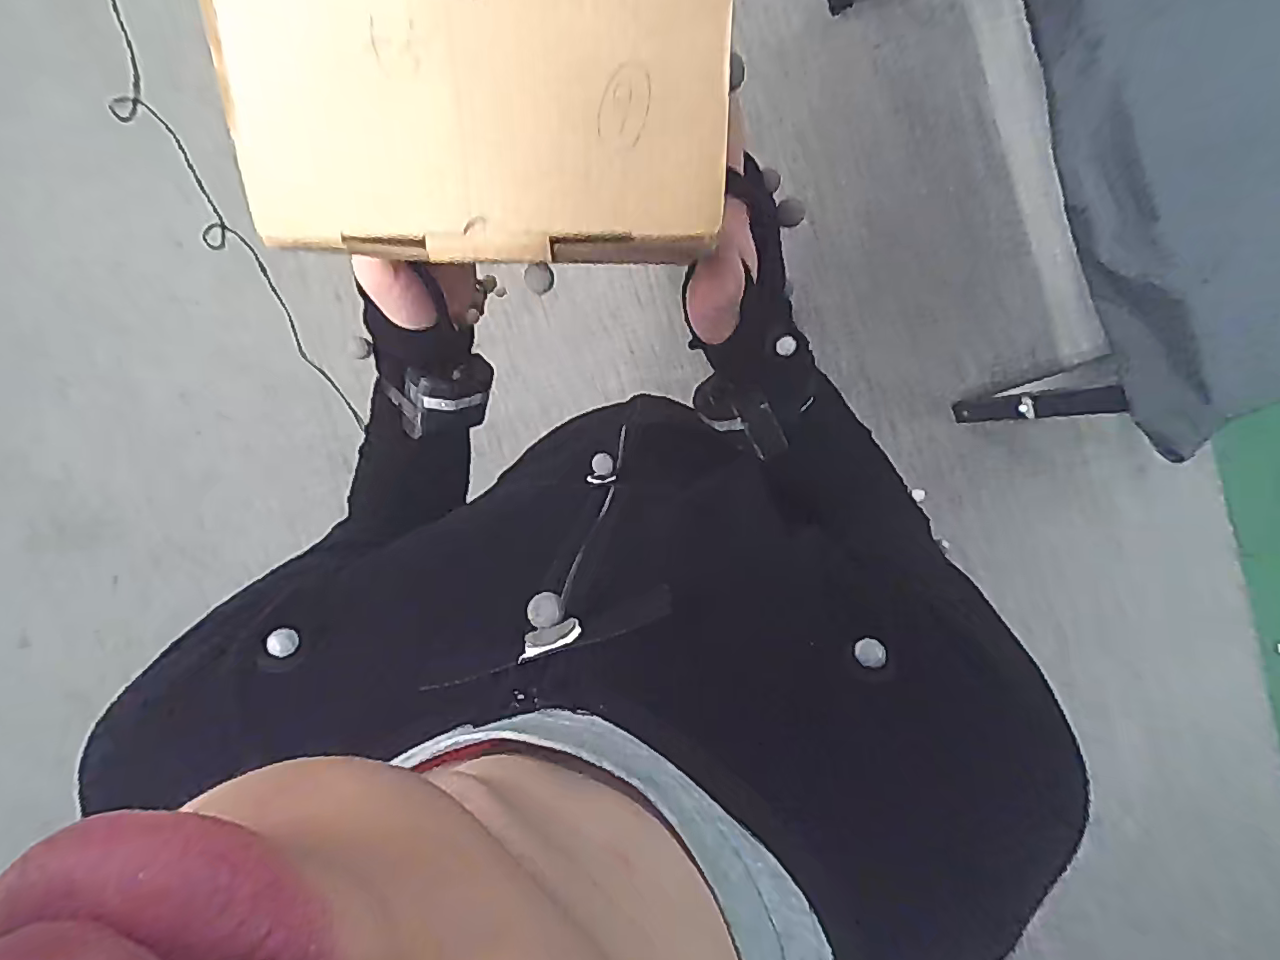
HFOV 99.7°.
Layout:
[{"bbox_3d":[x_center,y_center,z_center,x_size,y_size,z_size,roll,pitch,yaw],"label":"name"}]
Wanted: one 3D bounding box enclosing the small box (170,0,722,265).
[{"bbox_3d":[-0.055,-0.187,0.226,0.168,0.176,0.179,0,112,0],"label":"small box"}]
